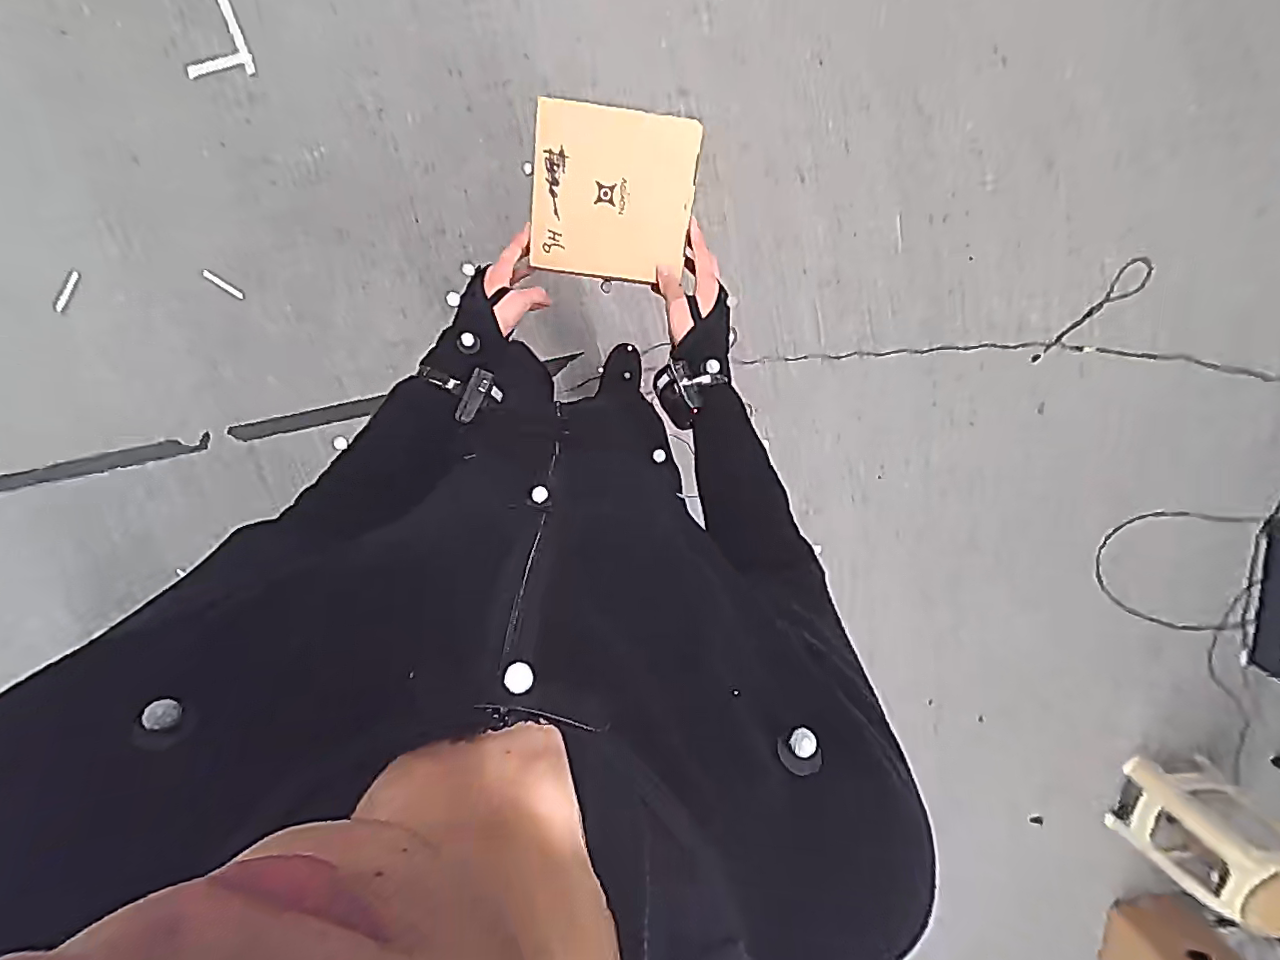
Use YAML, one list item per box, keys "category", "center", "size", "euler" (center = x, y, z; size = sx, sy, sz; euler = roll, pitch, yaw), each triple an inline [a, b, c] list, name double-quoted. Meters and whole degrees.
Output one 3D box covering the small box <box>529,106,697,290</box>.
- category: "small box"
  center: [-0.037, -0.337, 0.676]
  size: [0.179, 0.176, 0.168]
  euler: [5, 109, -5]
